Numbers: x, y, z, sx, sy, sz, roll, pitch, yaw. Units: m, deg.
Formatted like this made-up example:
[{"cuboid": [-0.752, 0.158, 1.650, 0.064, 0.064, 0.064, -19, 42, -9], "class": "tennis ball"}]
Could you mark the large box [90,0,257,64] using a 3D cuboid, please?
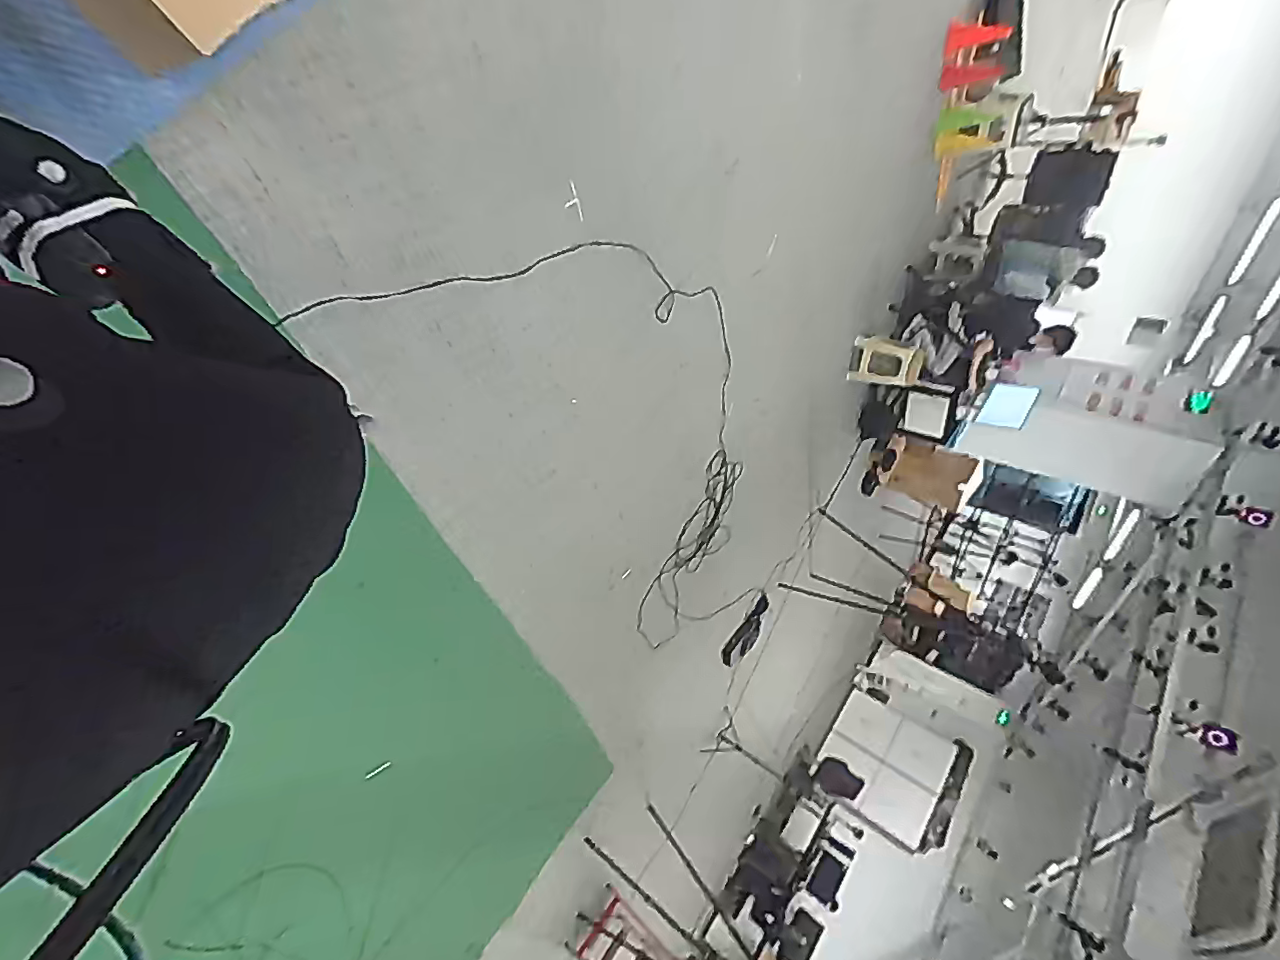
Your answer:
[{"cuboid": [-0.671, -0.835, 0.667, 0.320, 0.320, 0.408, -57, 144, -13], "class": "large box"}]
